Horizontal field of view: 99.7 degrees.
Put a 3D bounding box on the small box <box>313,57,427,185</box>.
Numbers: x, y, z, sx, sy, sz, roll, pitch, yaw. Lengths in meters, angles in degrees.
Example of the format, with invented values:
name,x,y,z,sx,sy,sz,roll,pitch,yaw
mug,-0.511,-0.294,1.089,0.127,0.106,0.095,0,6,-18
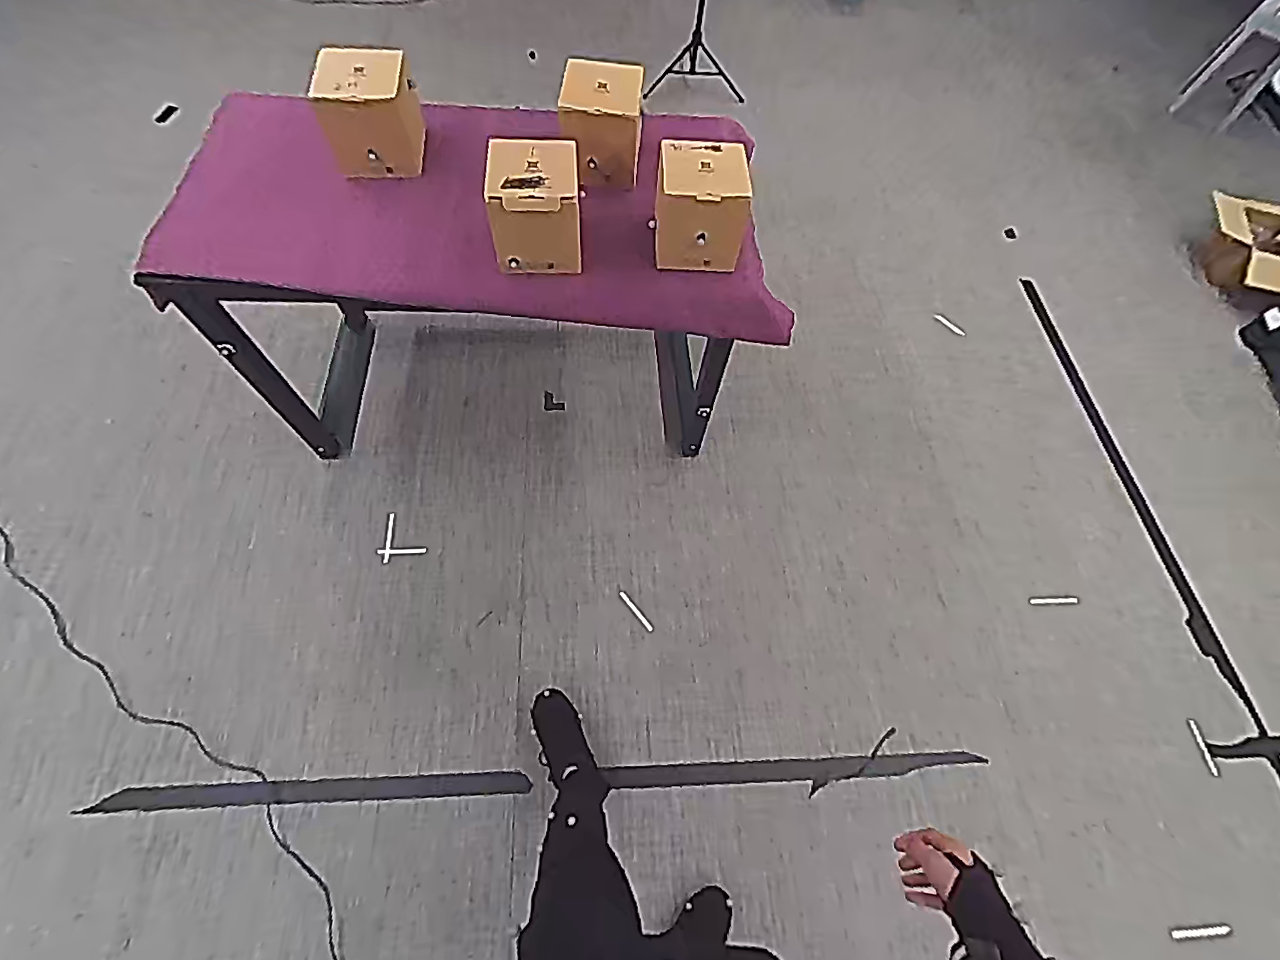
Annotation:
name,x,y,z,sx,sy,sz,roll,pitch,yaw
small box,-0.570,-0.772,1.170,0.168,0.176,0.179,-3,64,-6

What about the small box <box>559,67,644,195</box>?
name,x,y,z,sx,sy,sz,roll,pitch,yaw
small box,-0.083,-0.776,1.208,0.168,0.176,0.179,5,65,-1

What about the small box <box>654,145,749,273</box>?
name,x,y,z,sx,sy,sz,roll,pitch,yaw
small box,0.118,-0.546,1.101,0.168,0.176,0.179,2,62,-3

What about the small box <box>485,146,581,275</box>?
name,x,y,z,sx,sy,sz,roll,pitch,yaw
small box,-0.202,-0.528,1.071,0.168,0.176,0.179,-2,62,-5
